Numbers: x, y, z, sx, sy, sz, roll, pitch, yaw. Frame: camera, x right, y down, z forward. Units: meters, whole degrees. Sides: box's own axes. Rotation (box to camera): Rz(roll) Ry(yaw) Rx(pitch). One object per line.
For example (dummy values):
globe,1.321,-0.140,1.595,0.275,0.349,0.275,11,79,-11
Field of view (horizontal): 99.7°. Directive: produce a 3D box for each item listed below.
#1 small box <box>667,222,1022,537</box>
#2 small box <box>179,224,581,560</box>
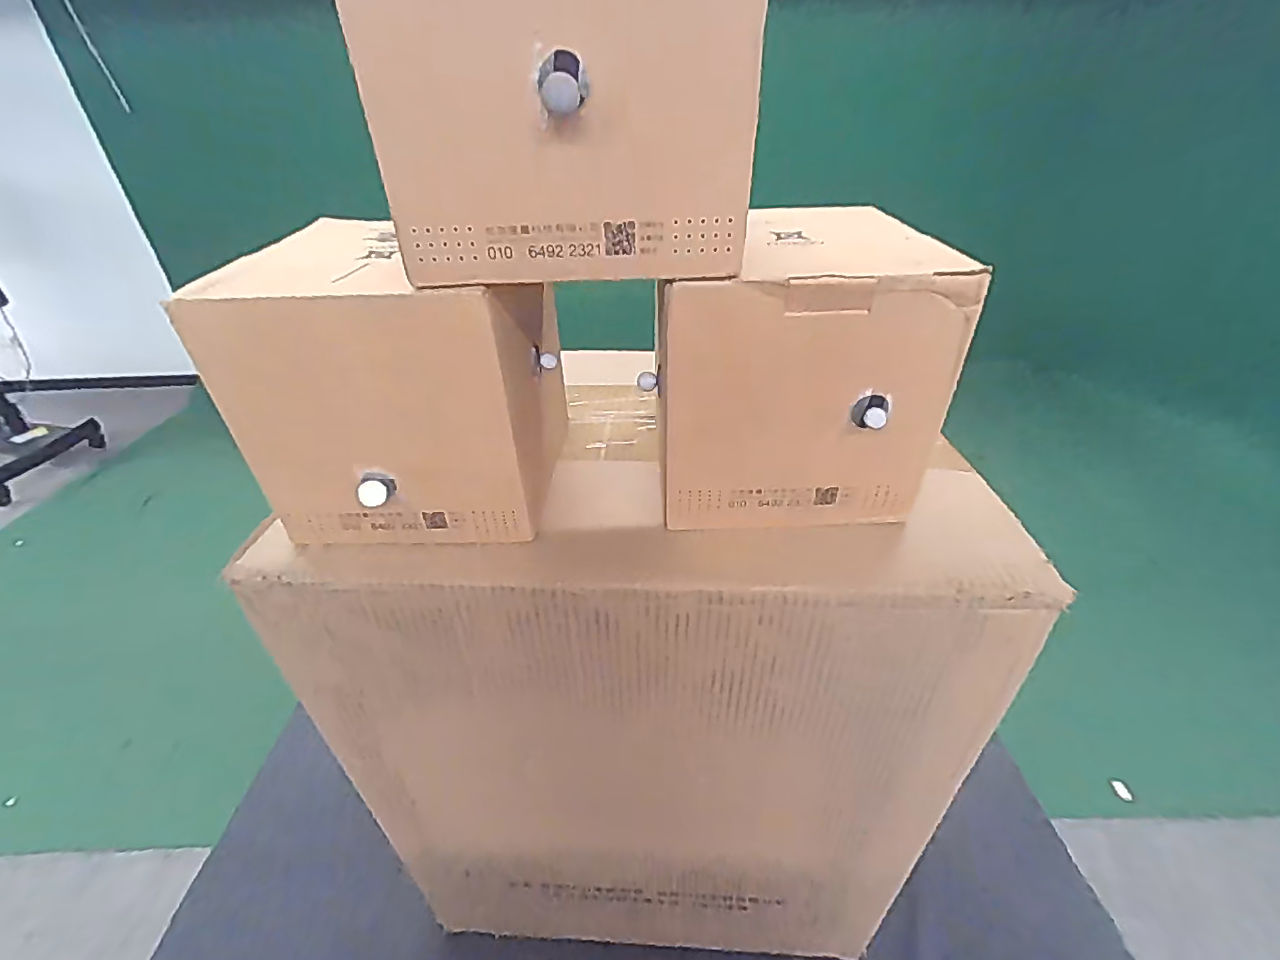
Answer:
small box,0.108,-0.073,0.380,0.168,0.176,0.179,-1,36,-3
small box,-0.137,-0.068,0.370,0.168,0.176,0.179,1,37,4
